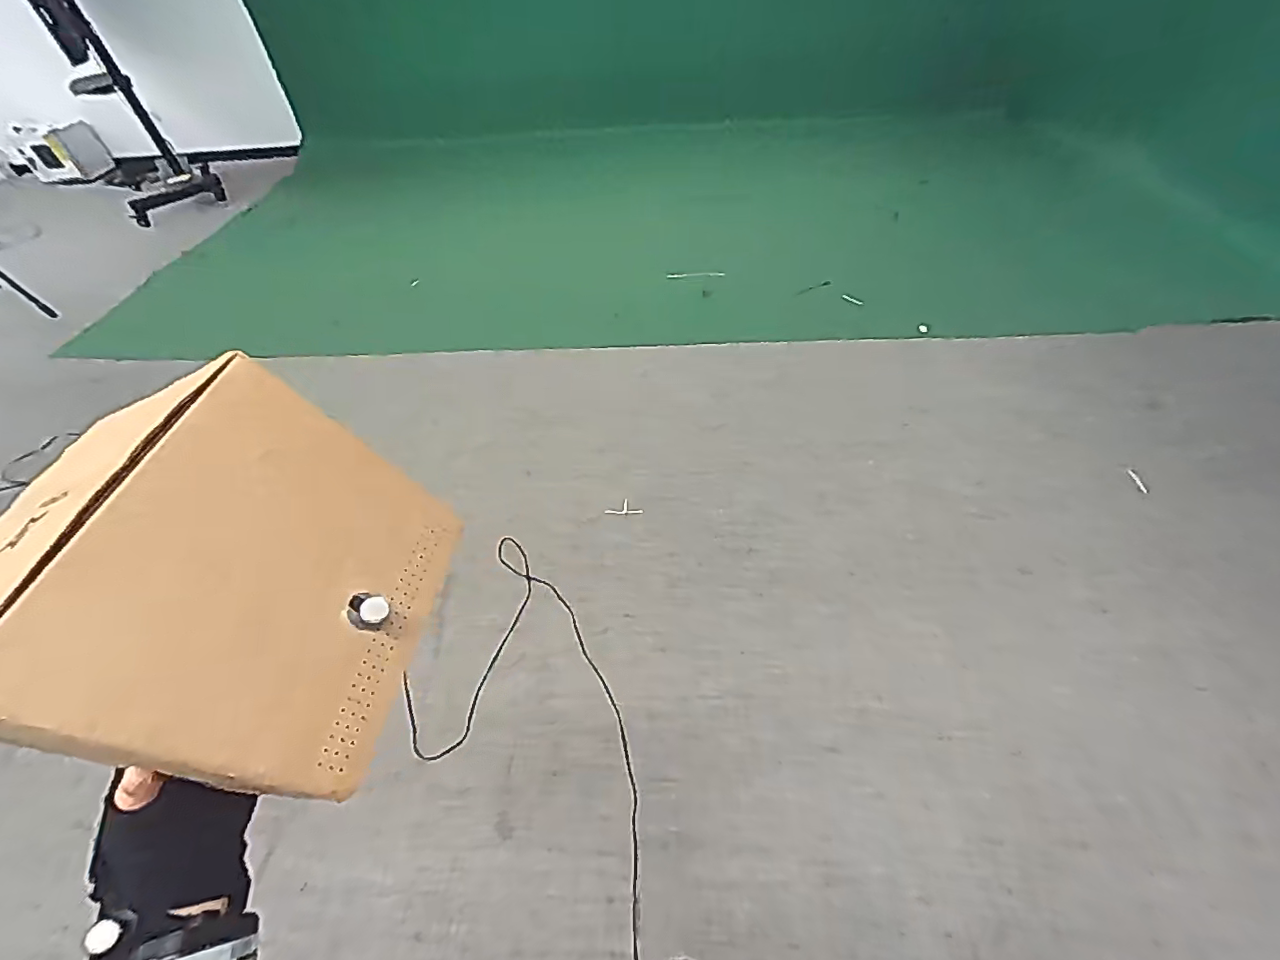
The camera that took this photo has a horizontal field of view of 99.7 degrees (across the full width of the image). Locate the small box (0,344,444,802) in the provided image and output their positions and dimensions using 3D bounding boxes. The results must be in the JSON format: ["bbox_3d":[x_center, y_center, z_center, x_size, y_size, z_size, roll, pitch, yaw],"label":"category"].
[{"bbox_3d":[-0.244,0.061,0.306,0.168,0.176,0.179,-13,48,27],"label":"small box"}]
